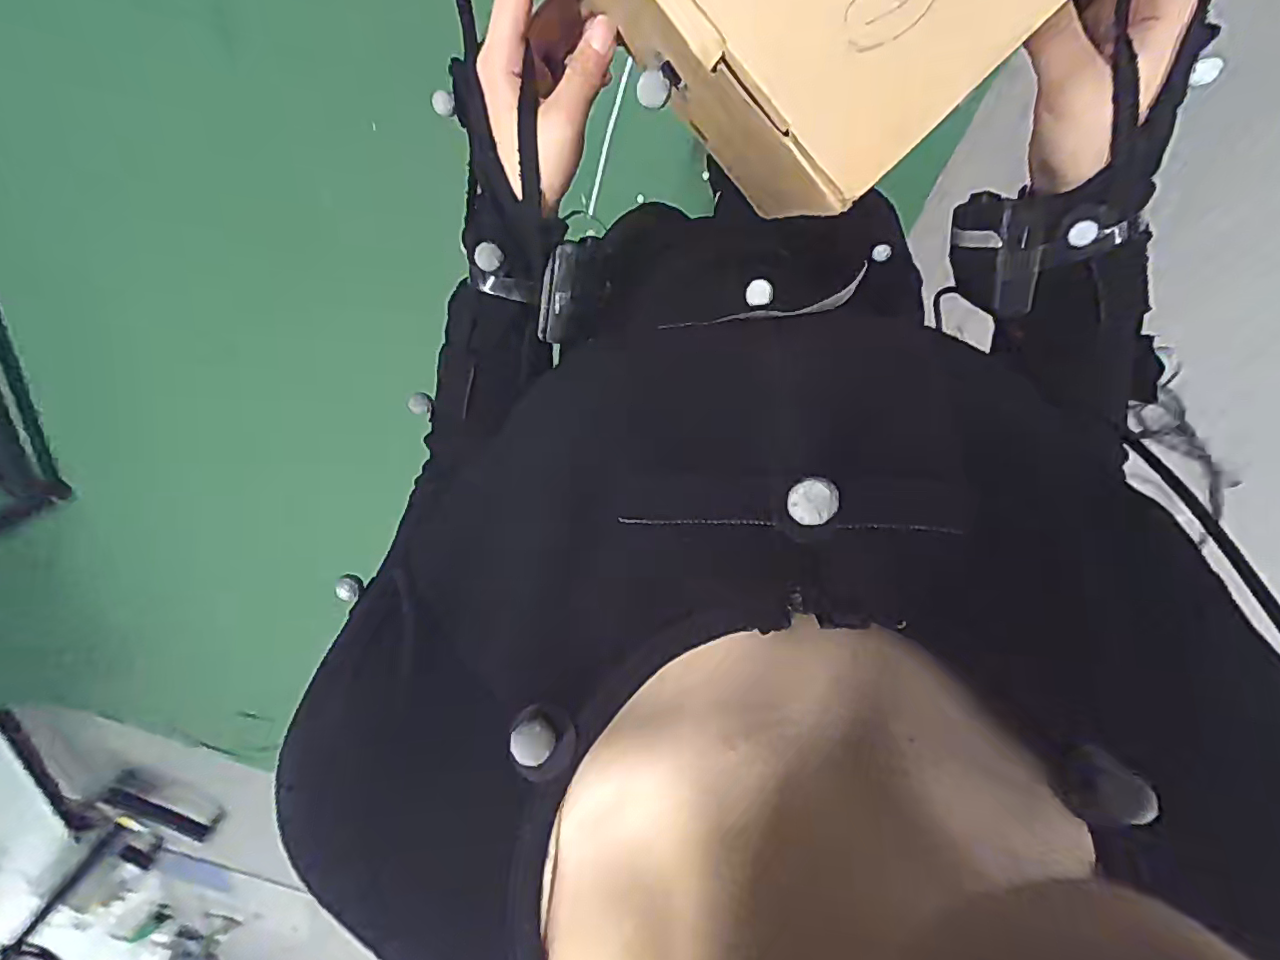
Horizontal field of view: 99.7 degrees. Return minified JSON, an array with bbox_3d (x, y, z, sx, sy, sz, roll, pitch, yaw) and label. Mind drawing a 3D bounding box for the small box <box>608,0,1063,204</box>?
[{"bbox_3d":[0.076,-0.227,0.198,0.179,0.176,0.168,-40,106,20],"label":"small box"}]
